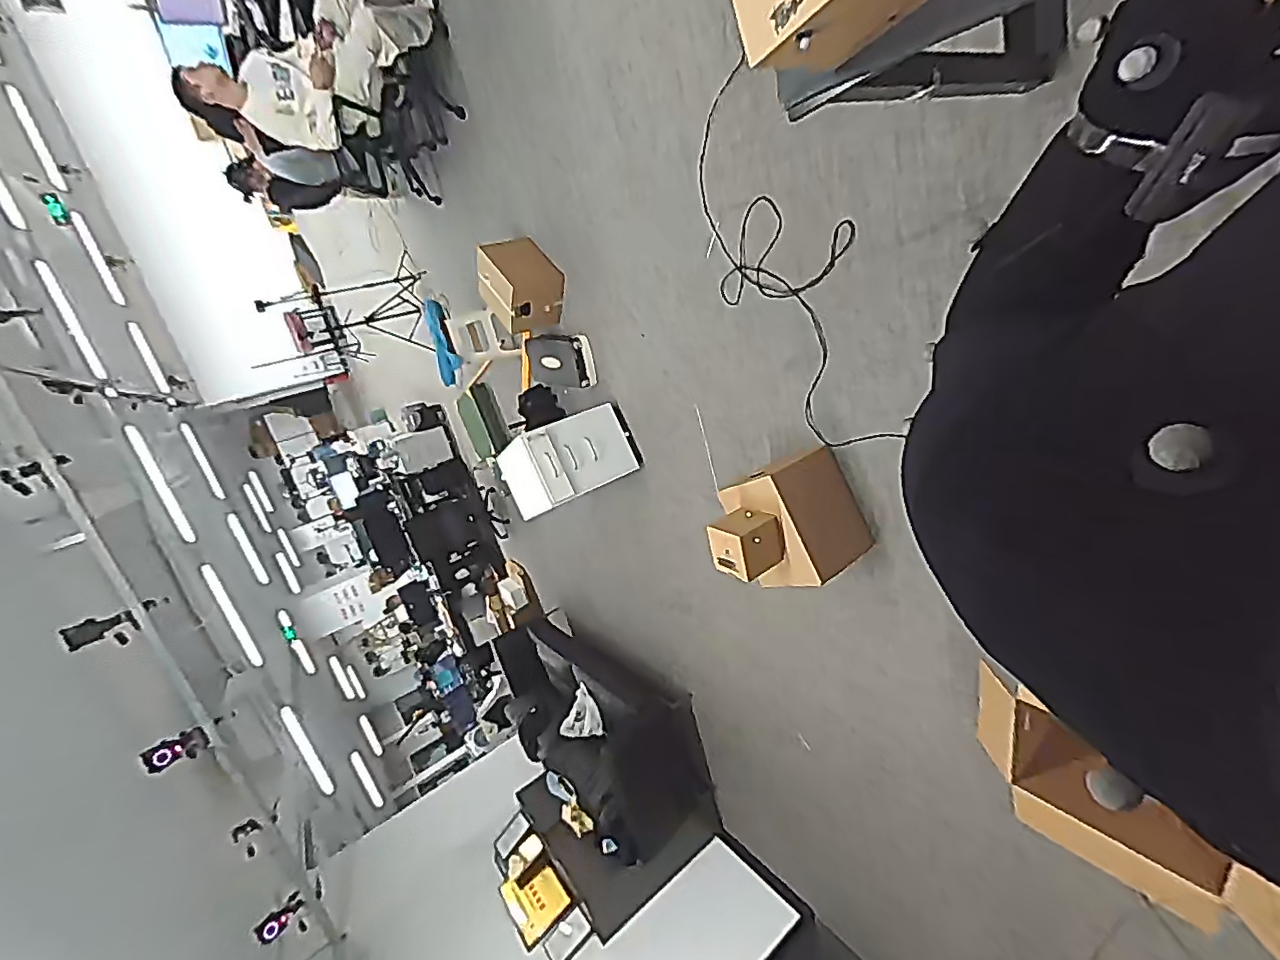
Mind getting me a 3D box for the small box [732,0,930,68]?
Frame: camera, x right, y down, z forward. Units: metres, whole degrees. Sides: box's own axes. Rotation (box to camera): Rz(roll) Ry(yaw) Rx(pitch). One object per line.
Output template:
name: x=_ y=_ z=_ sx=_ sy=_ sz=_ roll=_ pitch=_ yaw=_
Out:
small box: x=0.217 y=-0.614 z=0.624 sx=0.168 sy=0.176 sz=0.179 roll=2 pitch=113 yaw=58
